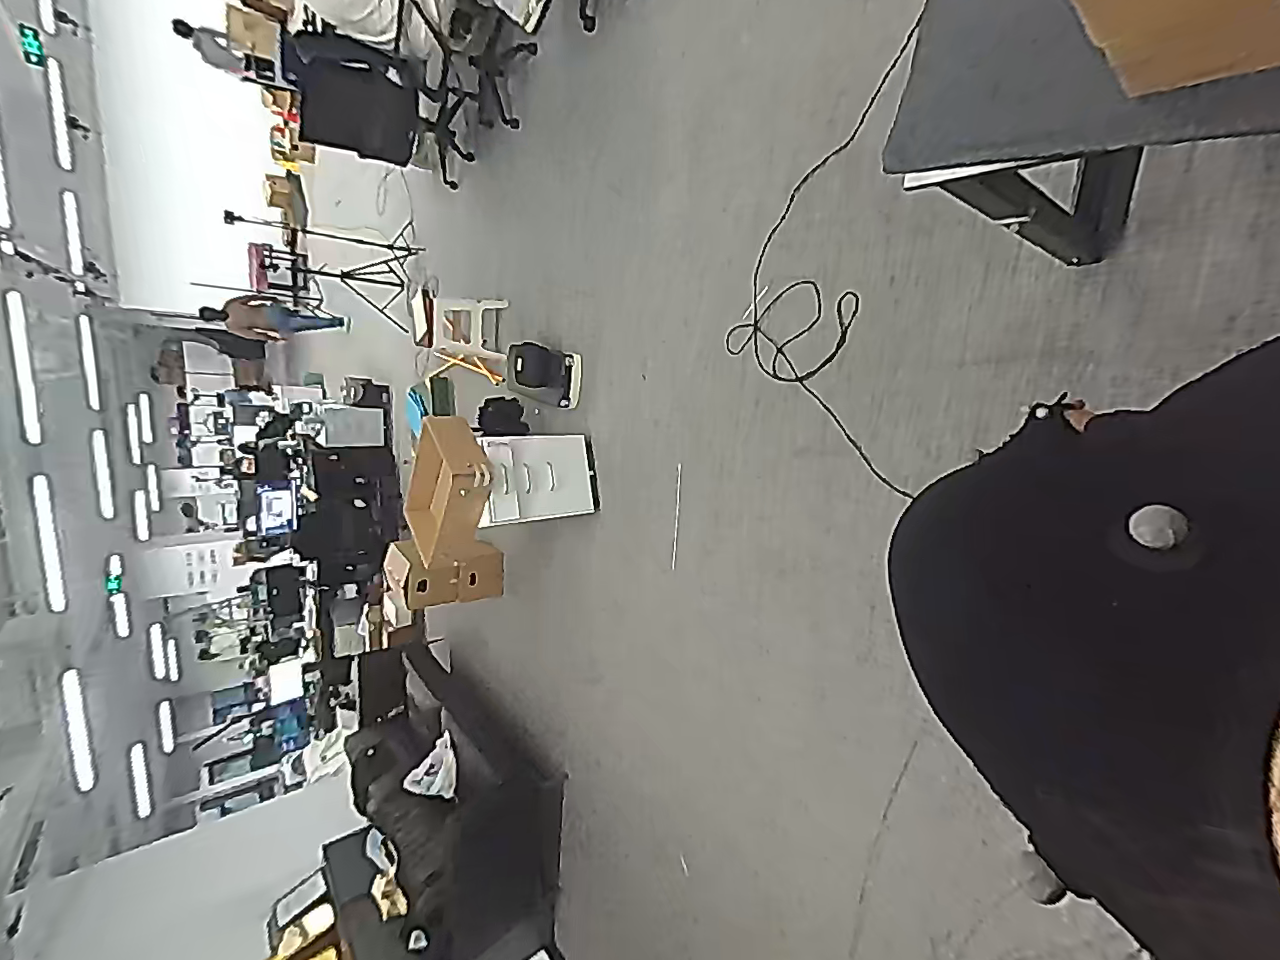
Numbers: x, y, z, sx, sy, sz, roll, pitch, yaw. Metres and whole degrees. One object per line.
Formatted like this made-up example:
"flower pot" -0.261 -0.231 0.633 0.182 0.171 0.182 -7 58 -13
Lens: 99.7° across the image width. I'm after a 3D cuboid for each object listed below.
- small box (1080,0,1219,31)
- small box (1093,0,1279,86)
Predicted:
"small box" 0.406 -0.444 0.347 0.179 0.176 0.168 21 111 49
"small box" 0.529 -0.470 0.450 0.179 0.176 0.168 23 112 49
